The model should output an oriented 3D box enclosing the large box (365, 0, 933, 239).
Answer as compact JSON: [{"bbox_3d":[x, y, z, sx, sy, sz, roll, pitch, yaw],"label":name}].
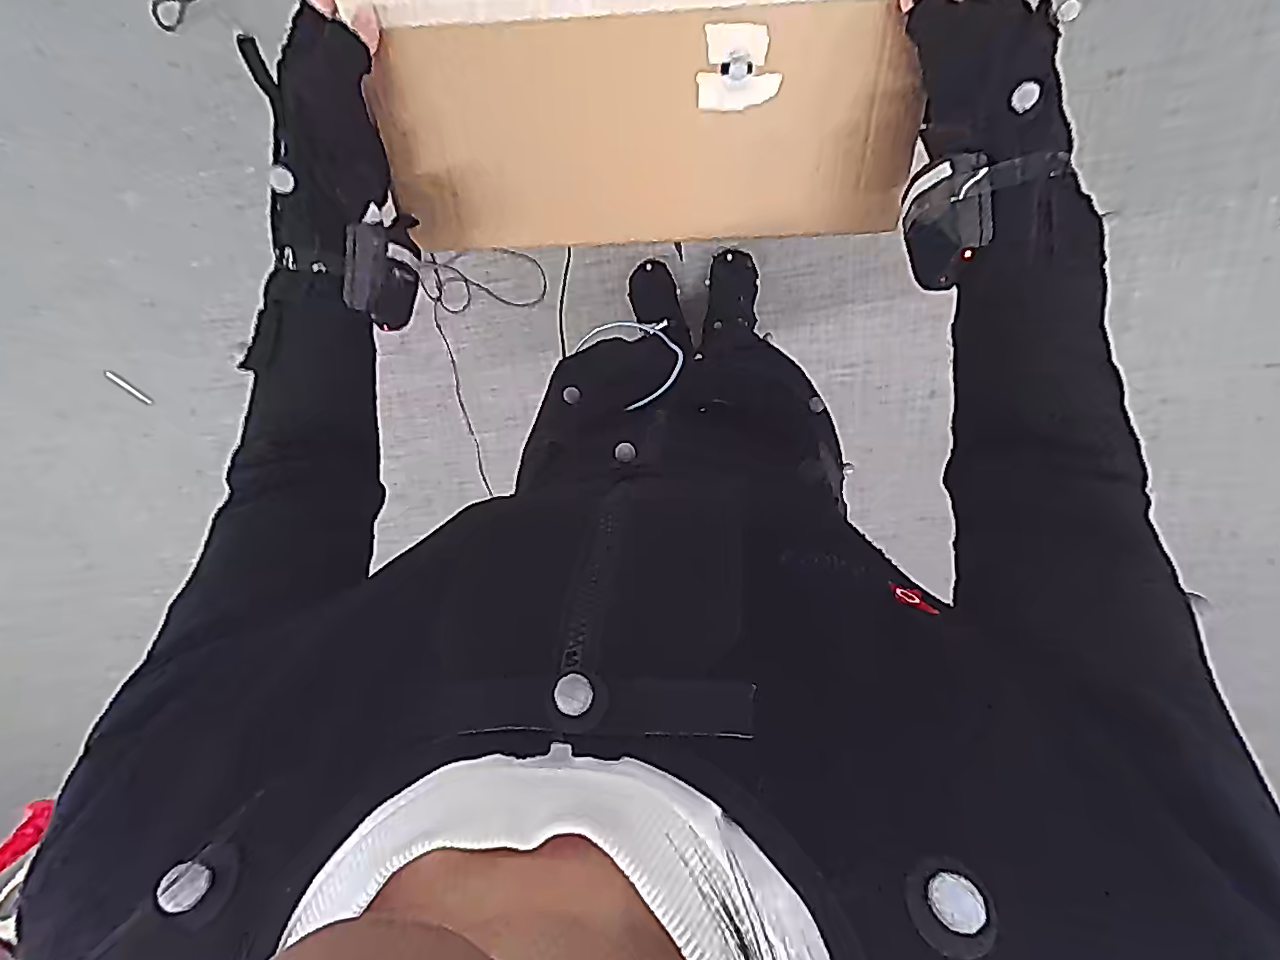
[{"bbox_3d":[0.004,-0.424,0.492,0.408,0.320,0.320,-2,125,1],"label":"large box"}]
